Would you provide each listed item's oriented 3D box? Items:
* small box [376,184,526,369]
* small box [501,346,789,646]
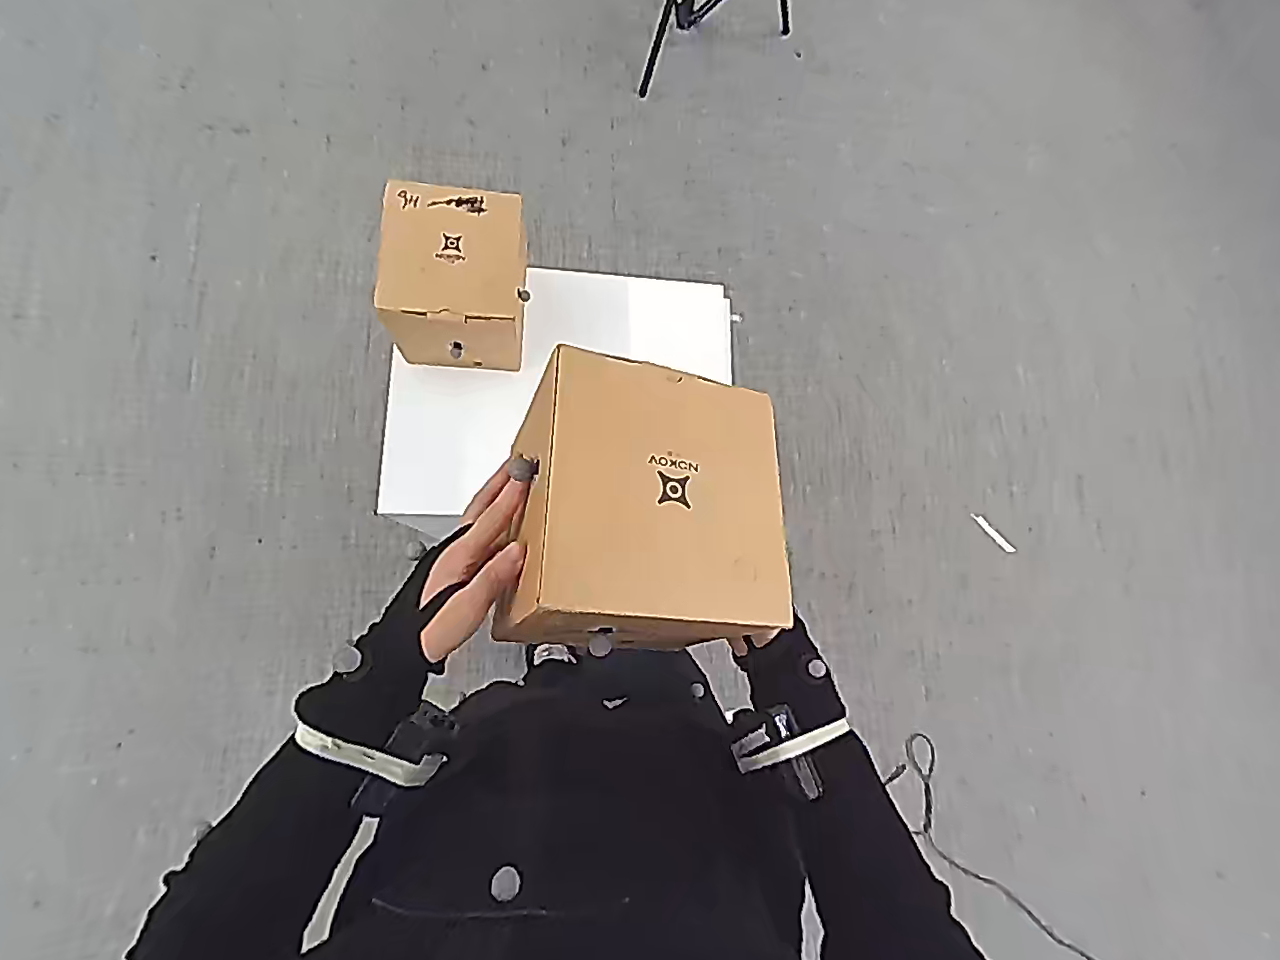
[{"bbox_3d":[-0.245,-0.264,0.743,0.168,0.176,0.179,2,81,-10],"label":"small box"},{"bbox_3d":[-0.009,0.030,0.421,0.168,0.176,0.179,9,64,-20],"label":"small box"}]
